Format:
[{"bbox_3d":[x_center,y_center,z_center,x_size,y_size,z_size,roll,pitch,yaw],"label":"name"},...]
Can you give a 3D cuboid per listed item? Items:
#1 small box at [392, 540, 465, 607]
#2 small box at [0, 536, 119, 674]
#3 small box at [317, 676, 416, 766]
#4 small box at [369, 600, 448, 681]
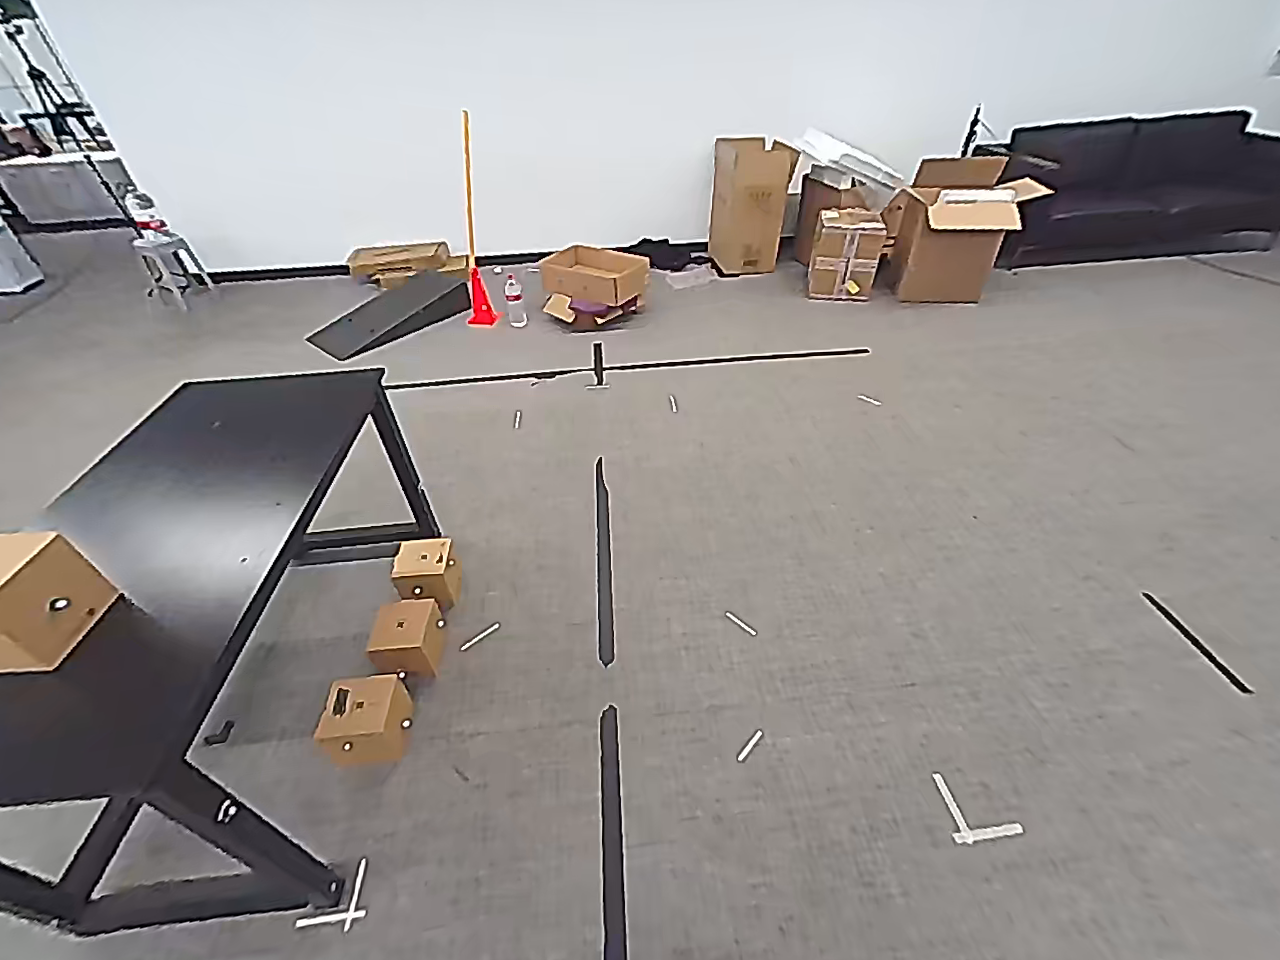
[{"bbox_3d":[-0.732,0.334,1.889,0.179,0.176,0.168,-6,41,-3],"label":"small box"},{"bbox_3d":[-1.068,0.215,0.919,0.179,0.176,0.168,-3,39,0],"label":"small box"},{"bbox_3d":[-0.745,0.668,1.494,0.179,0.176,0.168,-5,41,-3],"label":"small box"},{"bbox_3d":[-0.713,0.504,1.690,0.168,0.176,0.179,-6,41,-2],"label":"small box"}]
